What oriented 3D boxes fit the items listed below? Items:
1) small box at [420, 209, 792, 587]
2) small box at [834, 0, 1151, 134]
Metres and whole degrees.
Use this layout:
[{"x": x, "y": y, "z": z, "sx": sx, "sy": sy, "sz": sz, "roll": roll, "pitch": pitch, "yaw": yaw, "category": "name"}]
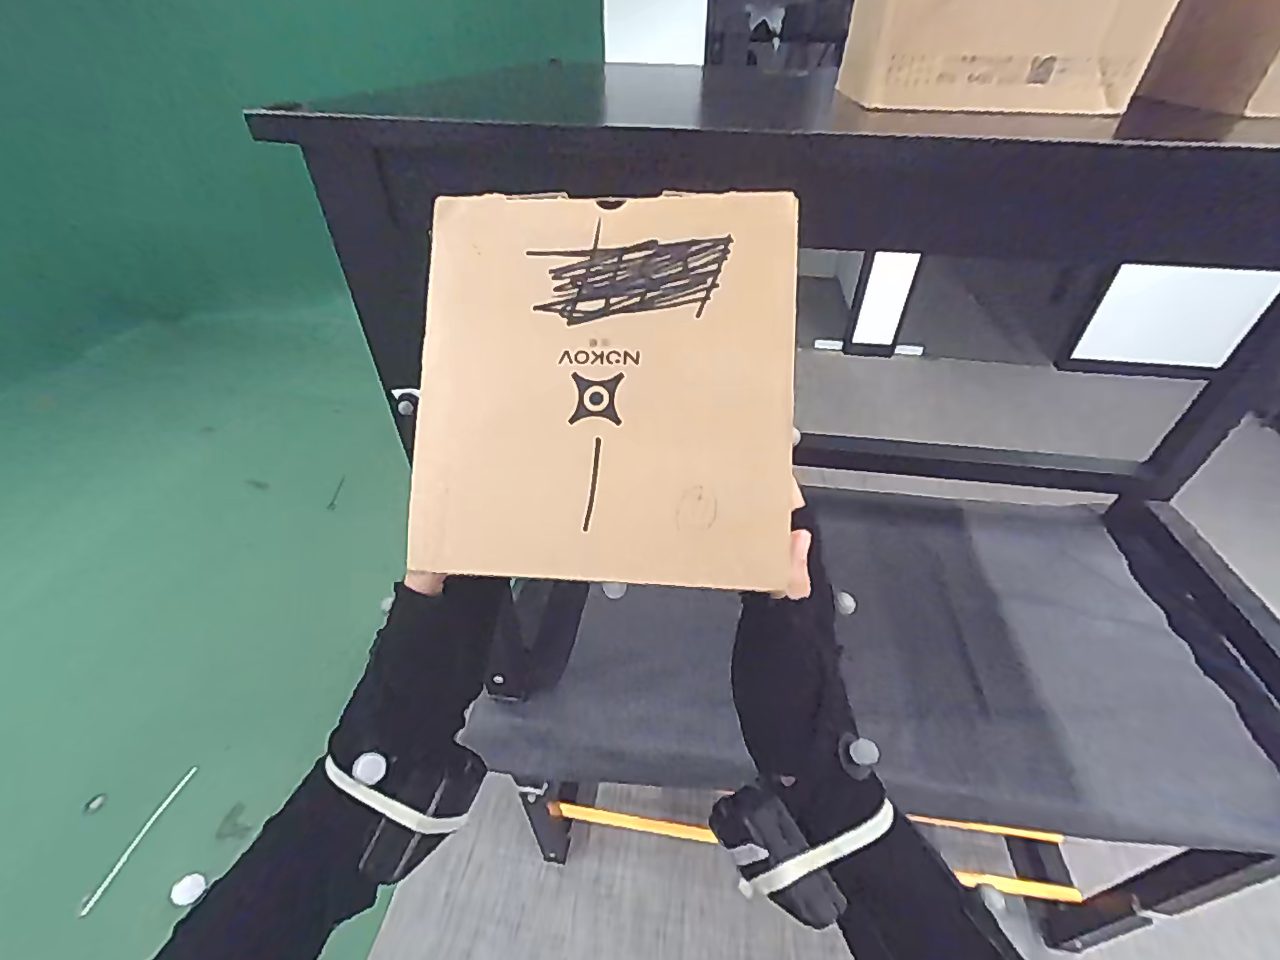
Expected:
[{"x": -0.008, "y": -0.034, "z": 0.328, "sx": 0.168, "sy": 0.176, "sz": 0.179, "roll": 2, "pitch": 84, "yaw": 6, "category": "small box"}, {"x": 0.250, "y": -0.361, "z": 0.393, "sx": 0.168, "sy": 0.176, "sz": 0.179, "roll": 6, "pitch": 40, "yaw": 6, "category": "small box"}]
